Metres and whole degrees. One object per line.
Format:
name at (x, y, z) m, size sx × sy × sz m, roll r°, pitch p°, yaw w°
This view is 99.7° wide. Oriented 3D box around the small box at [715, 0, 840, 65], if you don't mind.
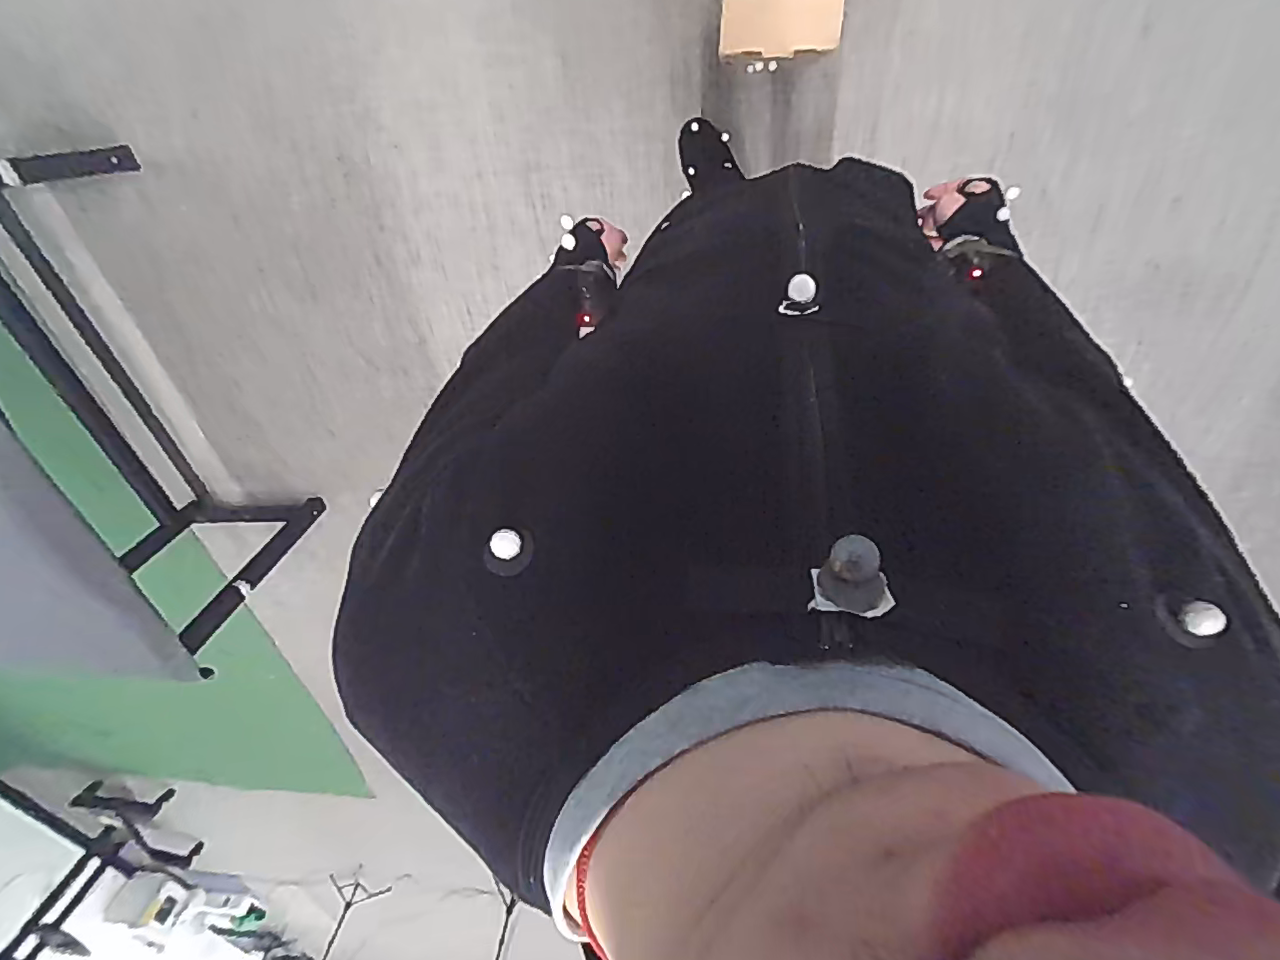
small box at (0.201, -0.717, 0.790) m, size 0.168 × 0.176 × 0.179 m, roll 4°, pitch 126°, yaw 6°
